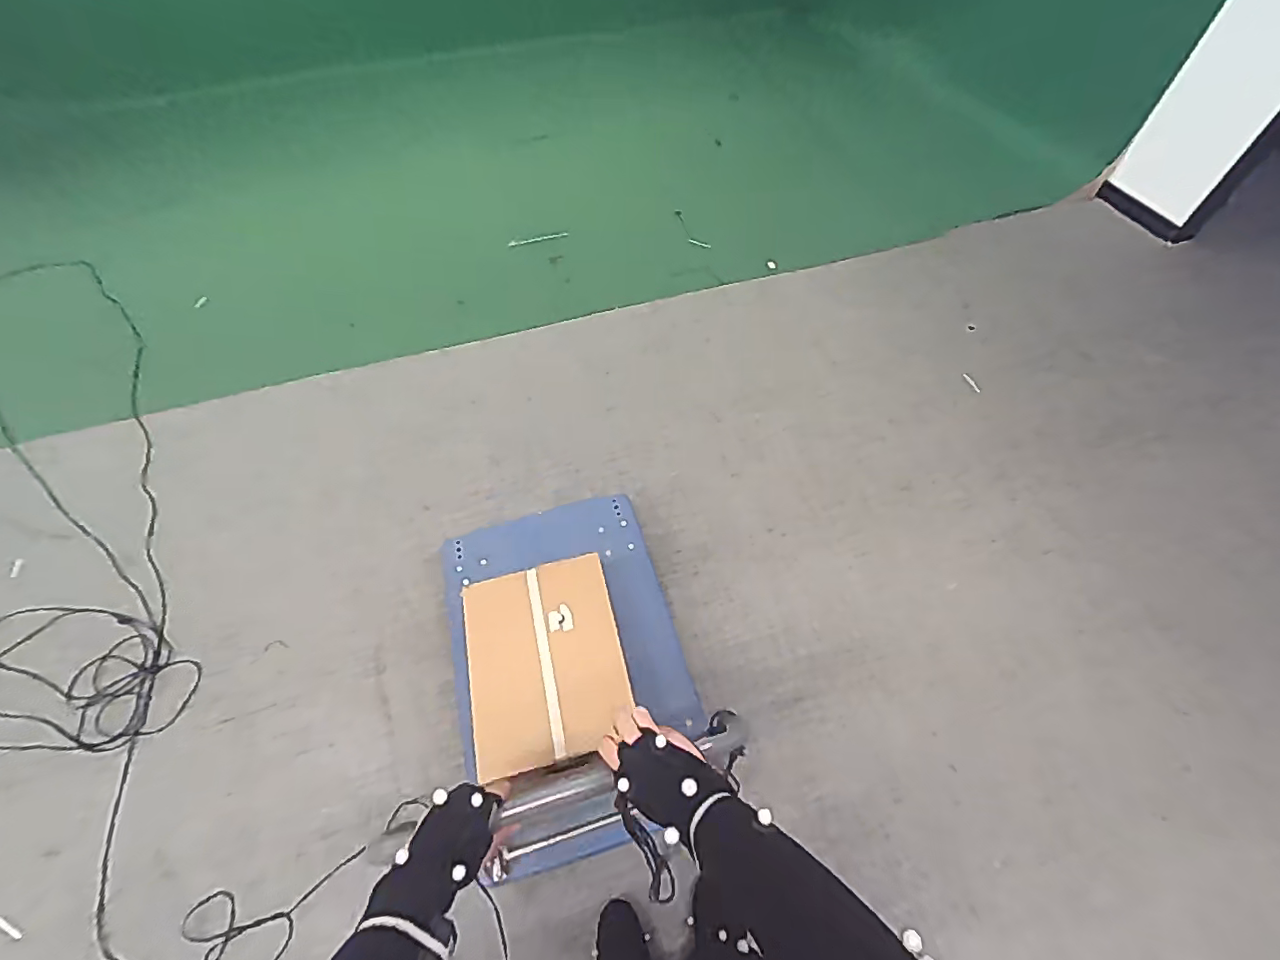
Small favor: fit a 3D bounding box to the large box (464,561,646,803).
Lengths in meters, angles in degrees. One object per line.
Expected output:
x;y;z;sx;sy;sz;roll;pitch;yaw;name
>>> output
-0.188;0.461;1.233;0.320;0.320;0.408;-13;56;-7;large box
